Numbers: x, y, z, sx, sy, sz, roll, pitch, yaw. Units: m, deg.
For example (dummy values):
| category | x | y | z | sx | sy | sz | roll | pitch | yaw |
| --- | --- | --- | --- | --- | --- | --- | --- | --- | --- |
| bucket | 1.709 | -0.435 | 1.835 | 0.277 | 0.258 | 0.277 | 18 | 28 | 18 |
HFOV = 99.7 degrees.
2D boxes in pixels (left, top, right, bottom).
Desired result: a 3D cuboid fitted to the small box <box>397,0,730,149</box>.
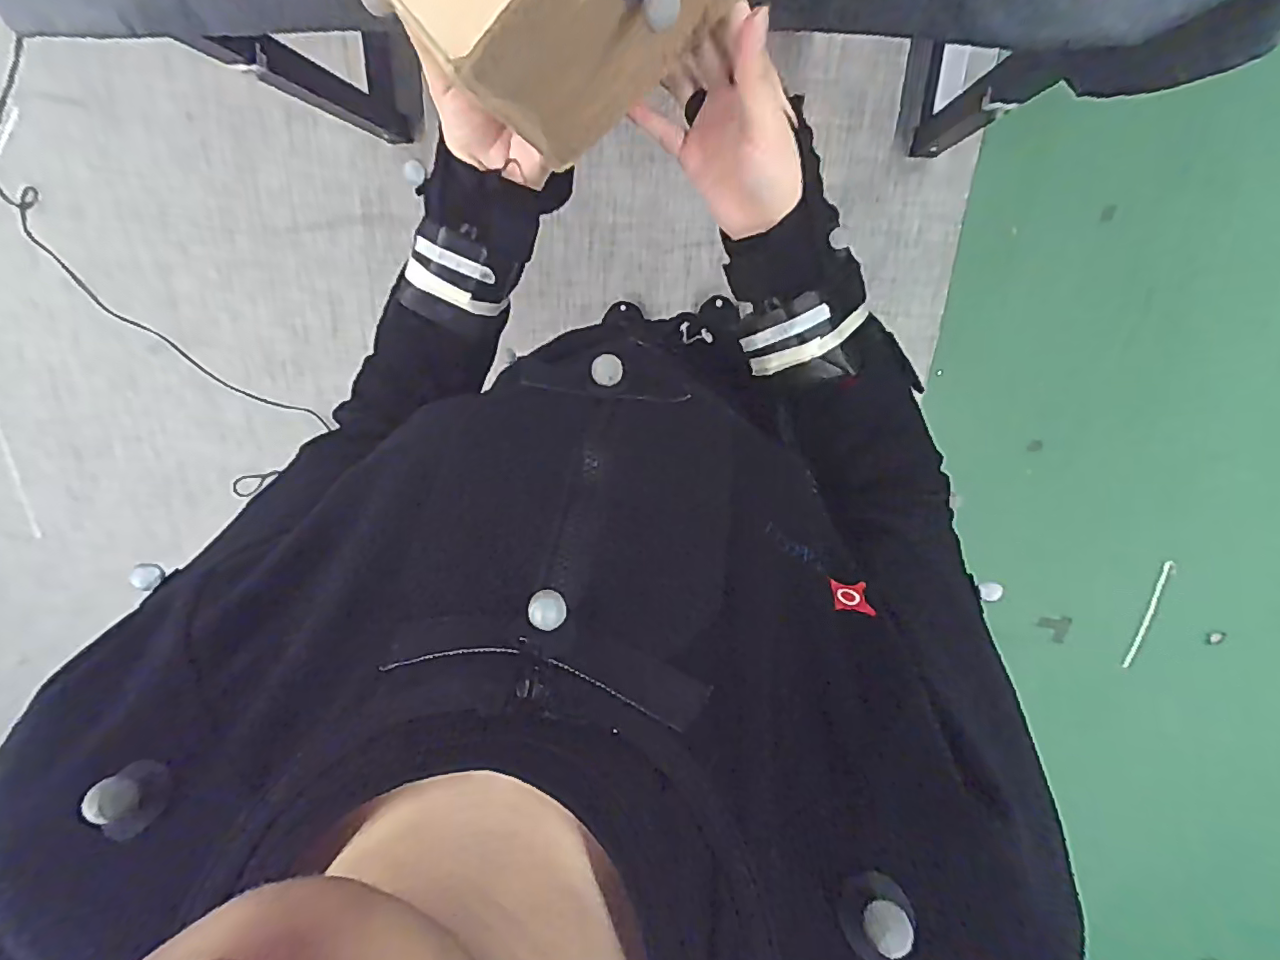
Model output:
| category | x | y | z | sx | sy | sz | roll | pitch | yaw |
| --- | --- | --- | --- | --- | --- | --- | --- | --- | --- |
| small box | -0.032 | -0.257 | 0.190 | 0.179 | 0.176 | 0.168 | -37 | 105 | 17 |
